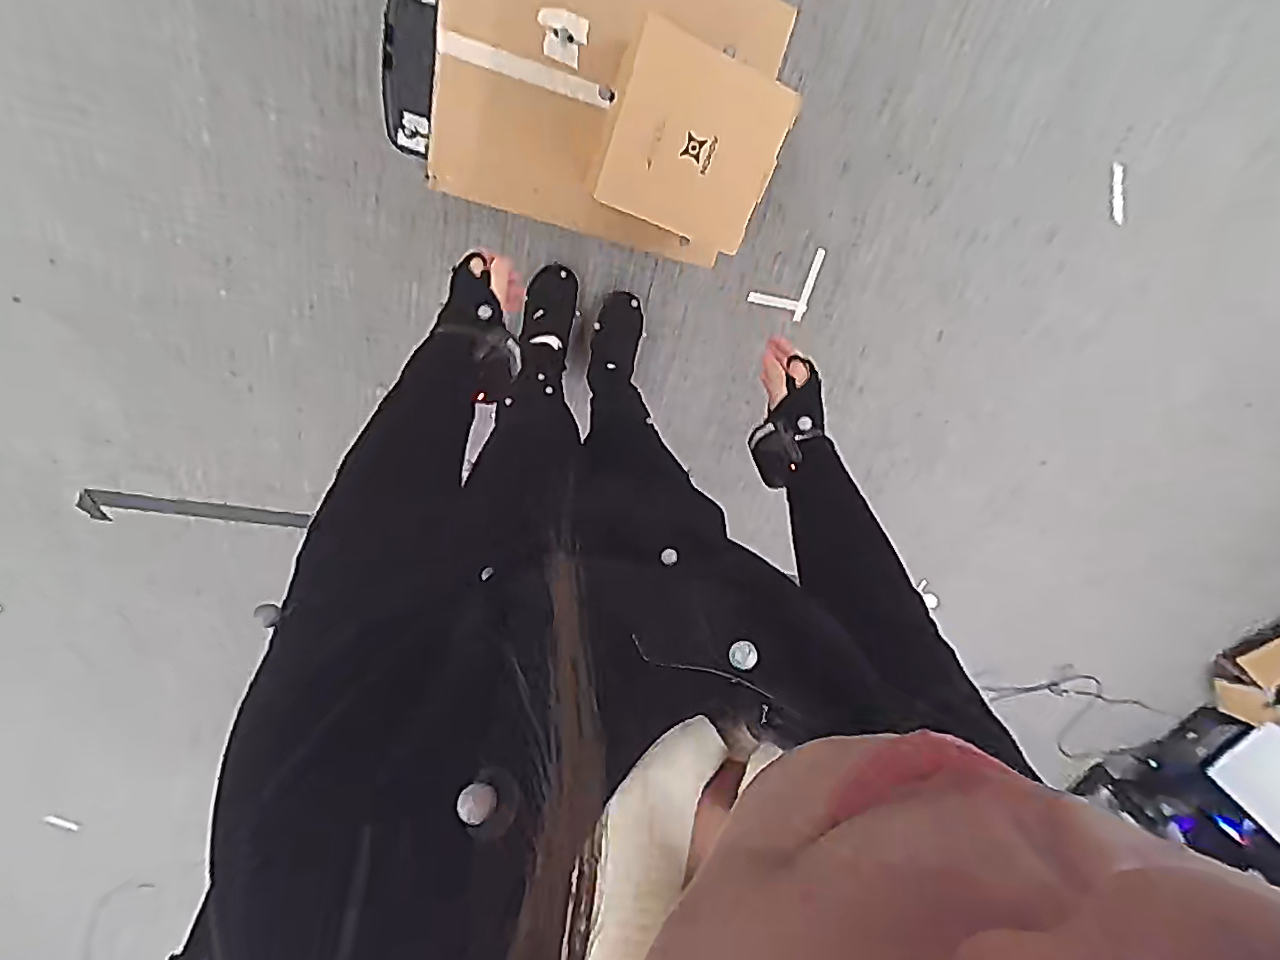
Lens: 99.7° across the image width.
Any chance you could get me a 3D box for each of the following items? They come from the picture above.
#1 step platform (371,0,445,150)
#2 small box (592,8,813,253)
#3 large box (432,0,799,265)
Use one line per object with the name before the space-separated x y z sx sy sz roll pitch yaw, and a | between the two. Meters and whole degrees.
step platform | -0.111 -0.661 0.993 0.684 0.204 0.286 15 118 -17
small box | 0.055 -0.387 0.617 0.179 0.176 0.168 15 119 -18
large box | -0.055 -0.547 0.790 0.408 0.320 0.320 10 119 -15
